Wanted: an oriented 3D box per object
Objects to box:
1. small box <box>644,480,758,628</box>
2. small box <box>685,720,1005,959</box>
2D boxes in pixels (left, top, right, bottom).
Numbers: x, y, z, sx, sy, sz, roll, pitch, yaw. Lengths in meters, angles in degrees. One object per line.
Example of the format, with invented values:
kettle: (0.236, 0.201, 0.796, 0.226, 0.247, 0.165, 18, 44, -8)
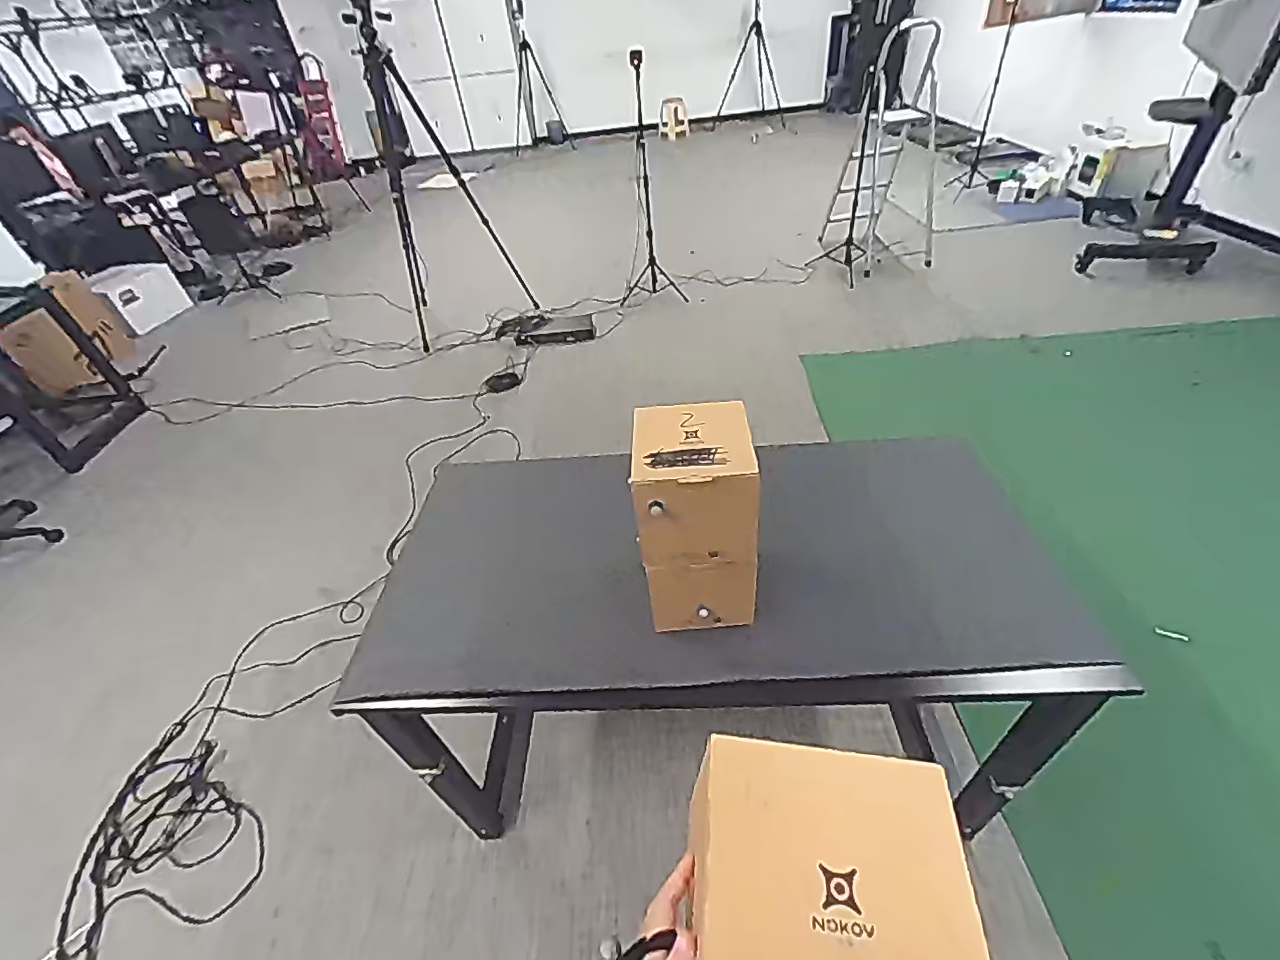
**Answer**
small box: (0.096, 0.123, 0.903, 0.168, 0.176, 0.179, -6, 40, 2)
small box: (0.121, 0.297, 0.376, 0.168, 0.176, 0.179, 6, 45, 4)
